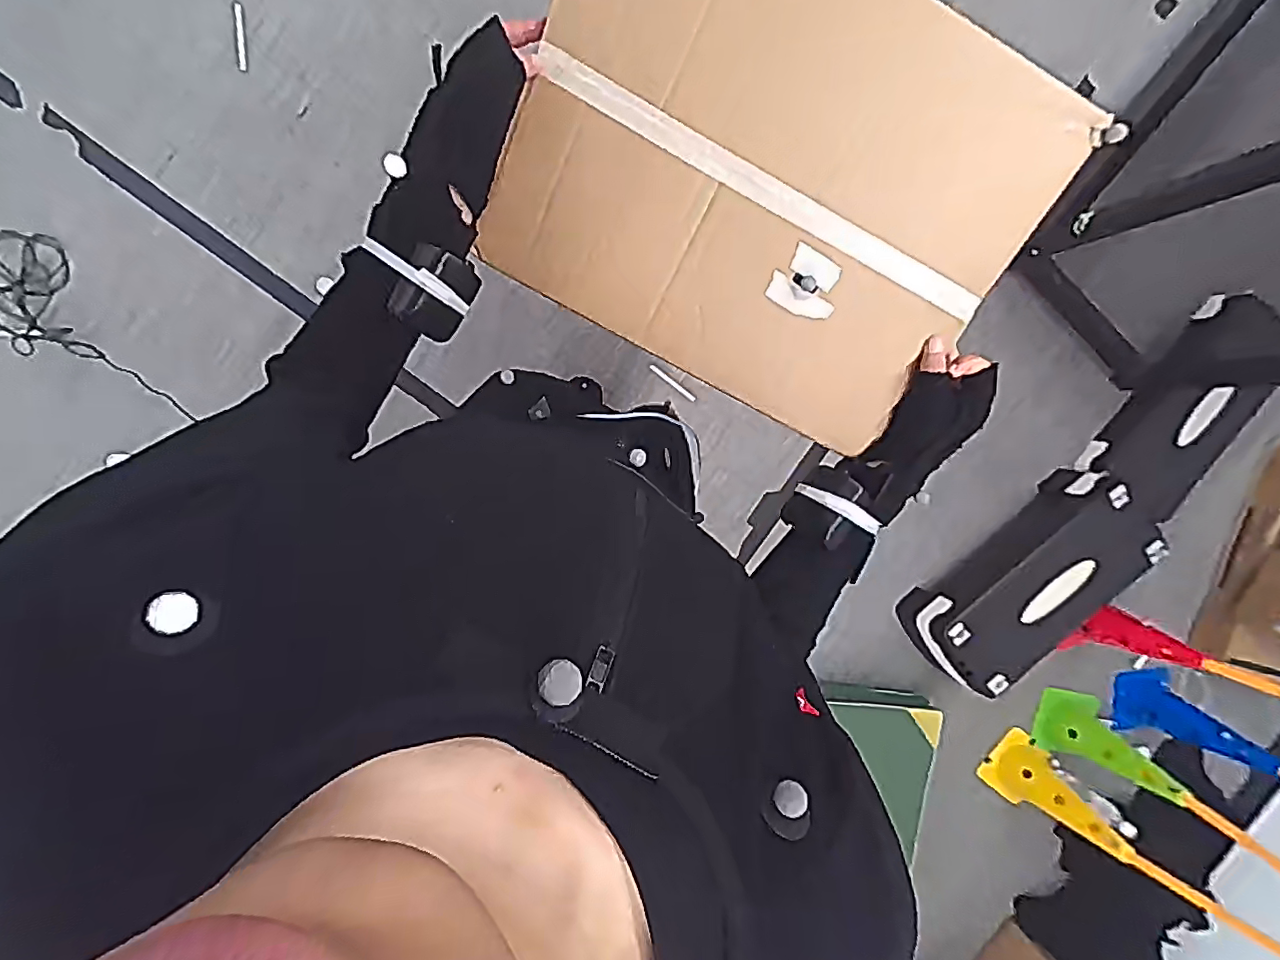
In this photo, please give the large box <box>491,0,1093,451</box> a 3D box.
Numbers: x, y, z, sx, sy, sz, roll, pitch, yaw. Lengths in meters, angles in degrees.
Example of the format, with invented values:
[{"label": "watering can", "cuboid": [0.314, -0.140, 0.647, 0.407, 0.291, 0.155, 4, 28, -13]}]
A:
[{"label": "large box", "cuboid": [0.116, -0.290, 0.585, 0.408, 0.320, 0.320, 27, 111, -8]}]
